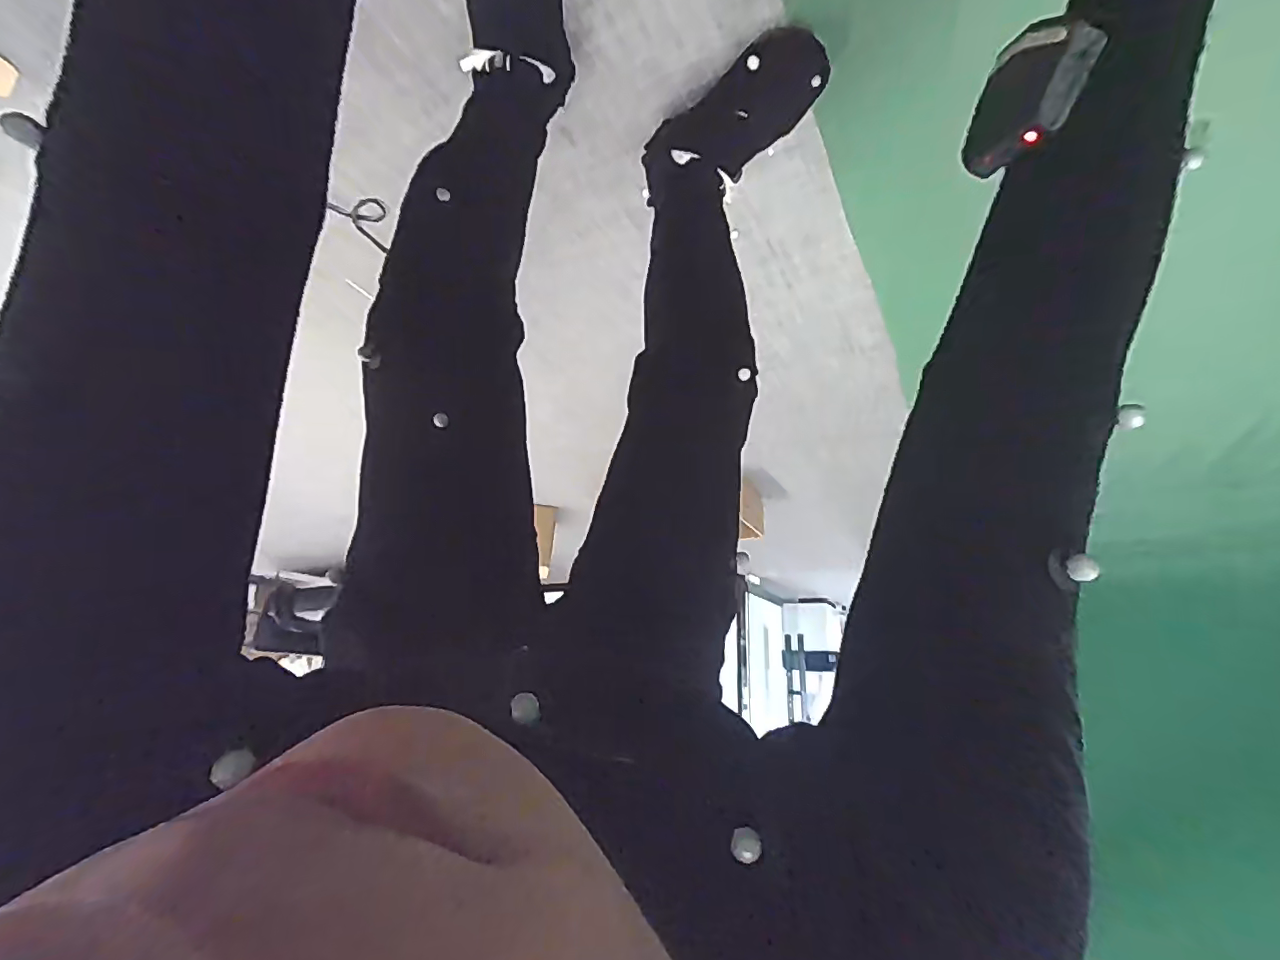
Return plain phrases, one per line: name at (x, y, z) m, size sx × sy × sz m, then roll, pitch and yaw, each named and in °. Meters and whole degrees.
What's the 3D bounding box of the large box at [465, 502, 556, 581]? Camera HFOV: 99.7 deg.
large box at (-0.644, 0.316, 2.727) m, size 0.408 × 0.320 × 0.320 m, roll 6°, pitch 160°, yaw -10°
